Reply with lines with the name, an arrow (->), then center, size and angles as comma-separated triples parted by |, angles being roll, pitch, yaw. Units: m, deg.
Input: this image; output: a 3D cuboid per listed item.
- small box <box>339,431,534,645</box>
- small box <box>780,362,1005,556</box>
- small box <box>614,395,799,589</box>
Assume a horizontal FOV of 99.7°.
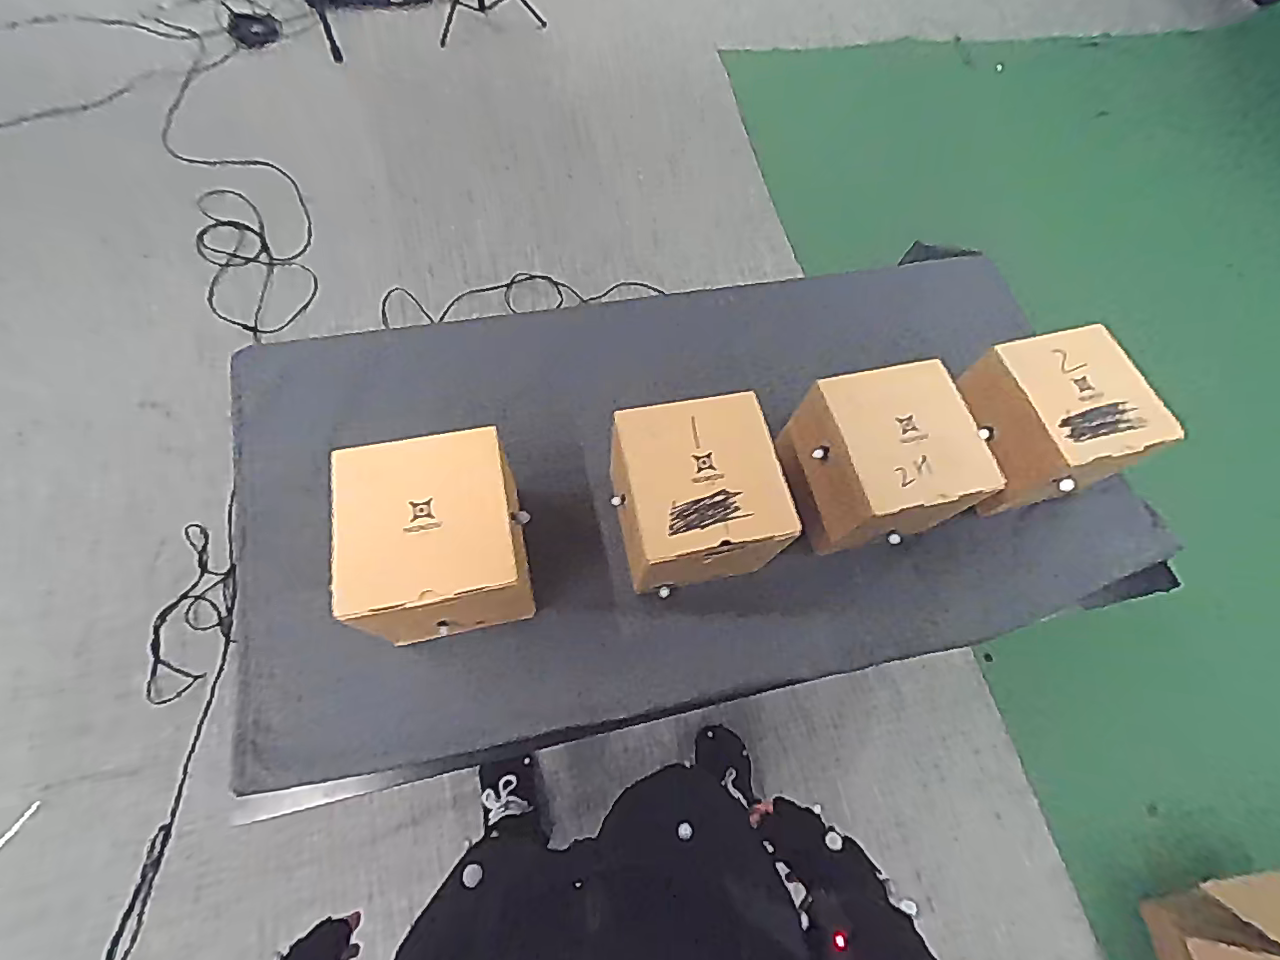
small box -> -0.216, 0.070, 0.604 | 0.168, 0.176, 0.179 | -10, 67, -10
small box -> 0.300, -0.021, 0.687 | 0.168, 0.176, 0.179 | -11, 68, -9
small box -> 0.064, 0.025, 0.648 | 0.168, 0.176, 0.179 | -9, 67, -9
